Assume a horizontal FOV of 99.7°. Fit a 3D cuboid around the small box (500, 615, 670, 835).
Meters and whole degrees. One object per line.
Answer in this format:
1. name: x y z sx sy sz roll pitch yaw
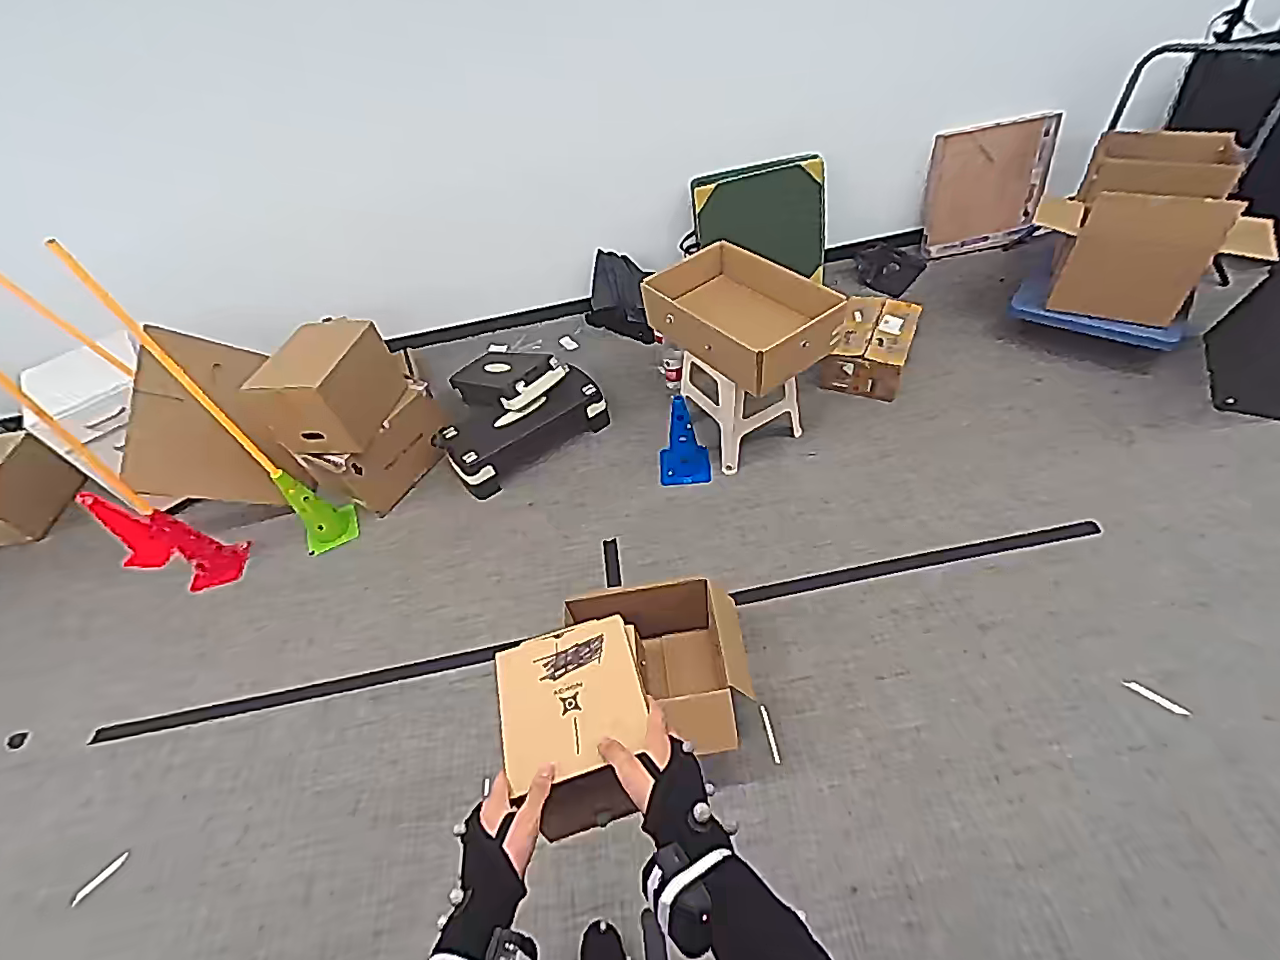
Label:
1. small box: -0.068 0.308 0.682 0.168 0.176 0.179 -17 43 -5
